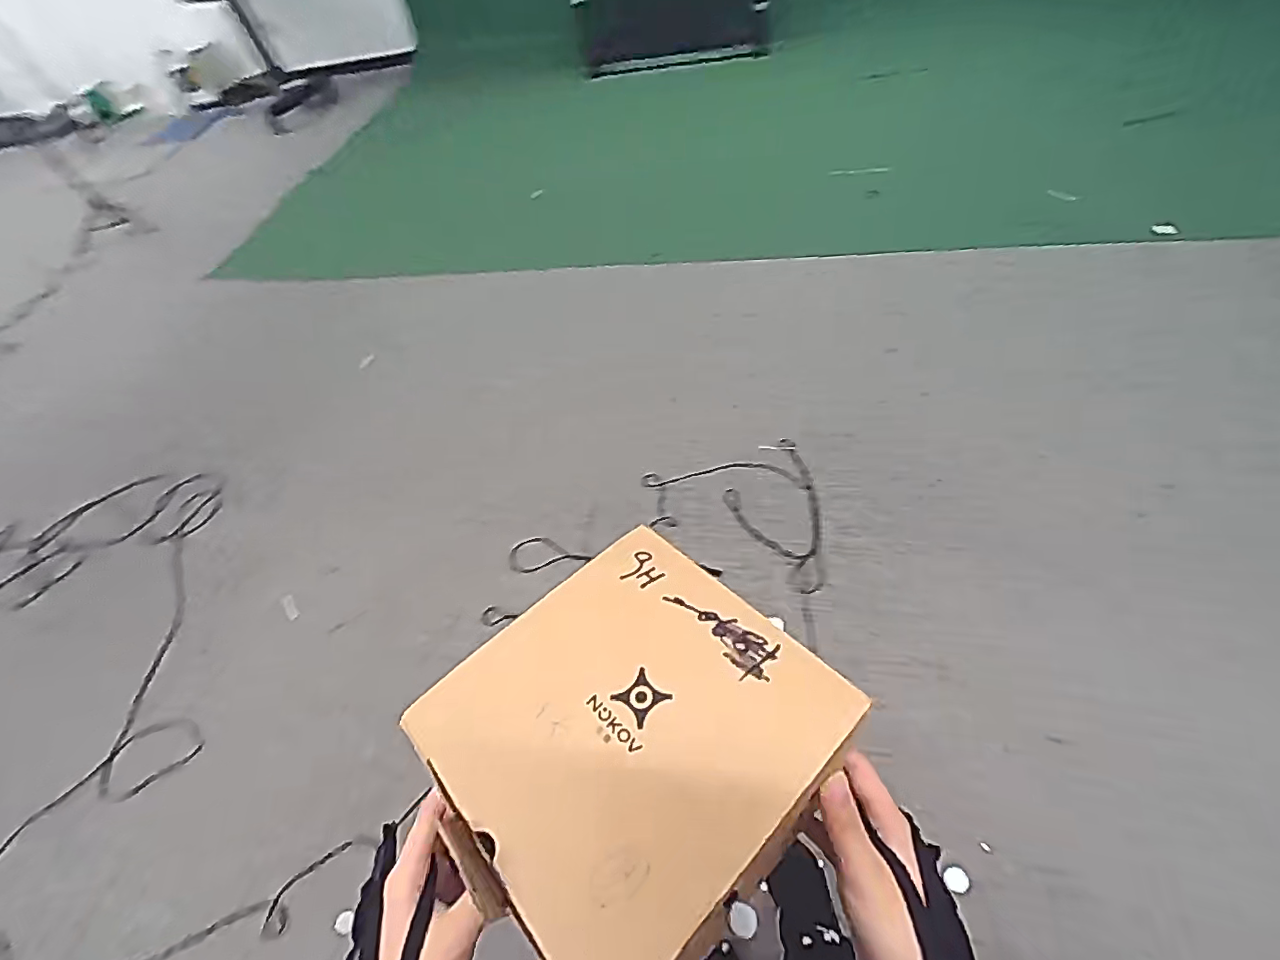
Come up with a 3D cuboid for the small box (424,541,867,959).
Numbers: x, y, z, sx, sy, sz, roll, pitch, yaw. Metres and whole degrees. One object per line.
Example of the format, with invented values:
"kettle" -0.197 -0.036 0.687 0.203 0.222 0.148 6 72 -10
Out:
"small box" 0.008 0.180 0.334 0.179 0.176 0.168 -36 52 -24
